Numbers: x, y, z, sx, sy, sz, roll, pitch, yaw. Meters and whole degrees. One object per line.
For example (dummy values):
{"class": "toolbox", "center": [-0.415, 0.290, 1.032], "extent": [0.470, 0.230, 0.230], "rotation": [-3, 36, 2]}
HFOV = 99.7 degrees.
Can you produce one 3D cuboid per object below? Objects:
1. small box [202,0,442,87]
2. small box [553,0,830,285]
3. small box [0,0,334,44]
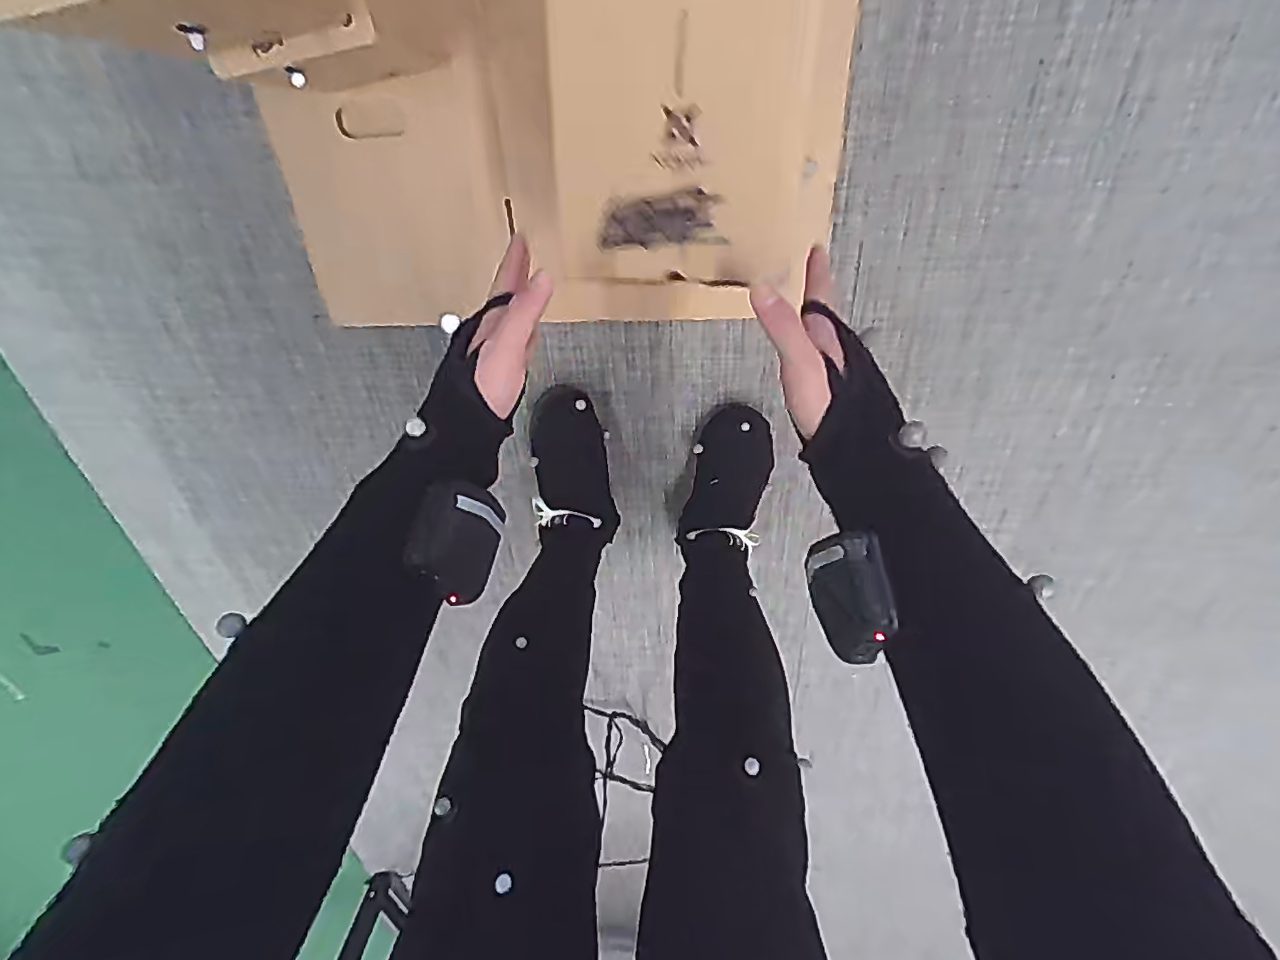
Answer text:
{"class": "small box", "center": [-0.317, -0.497, 0.509], "extent": [0.168, 0.176, 0.179], "rotation": [-5, 121, 9]}
{"class": "small box", "center": [0.035, -0.262, 0.423], "extent": [0.168, 0.176, 0.179], "rotation": [1, 122, 4]}
{"class": "small box", "center": [-0.351, -0.421, 0.365], "extent": [0.168, 0.176, 0.179], "rotation": [-5, 121, 7]}
